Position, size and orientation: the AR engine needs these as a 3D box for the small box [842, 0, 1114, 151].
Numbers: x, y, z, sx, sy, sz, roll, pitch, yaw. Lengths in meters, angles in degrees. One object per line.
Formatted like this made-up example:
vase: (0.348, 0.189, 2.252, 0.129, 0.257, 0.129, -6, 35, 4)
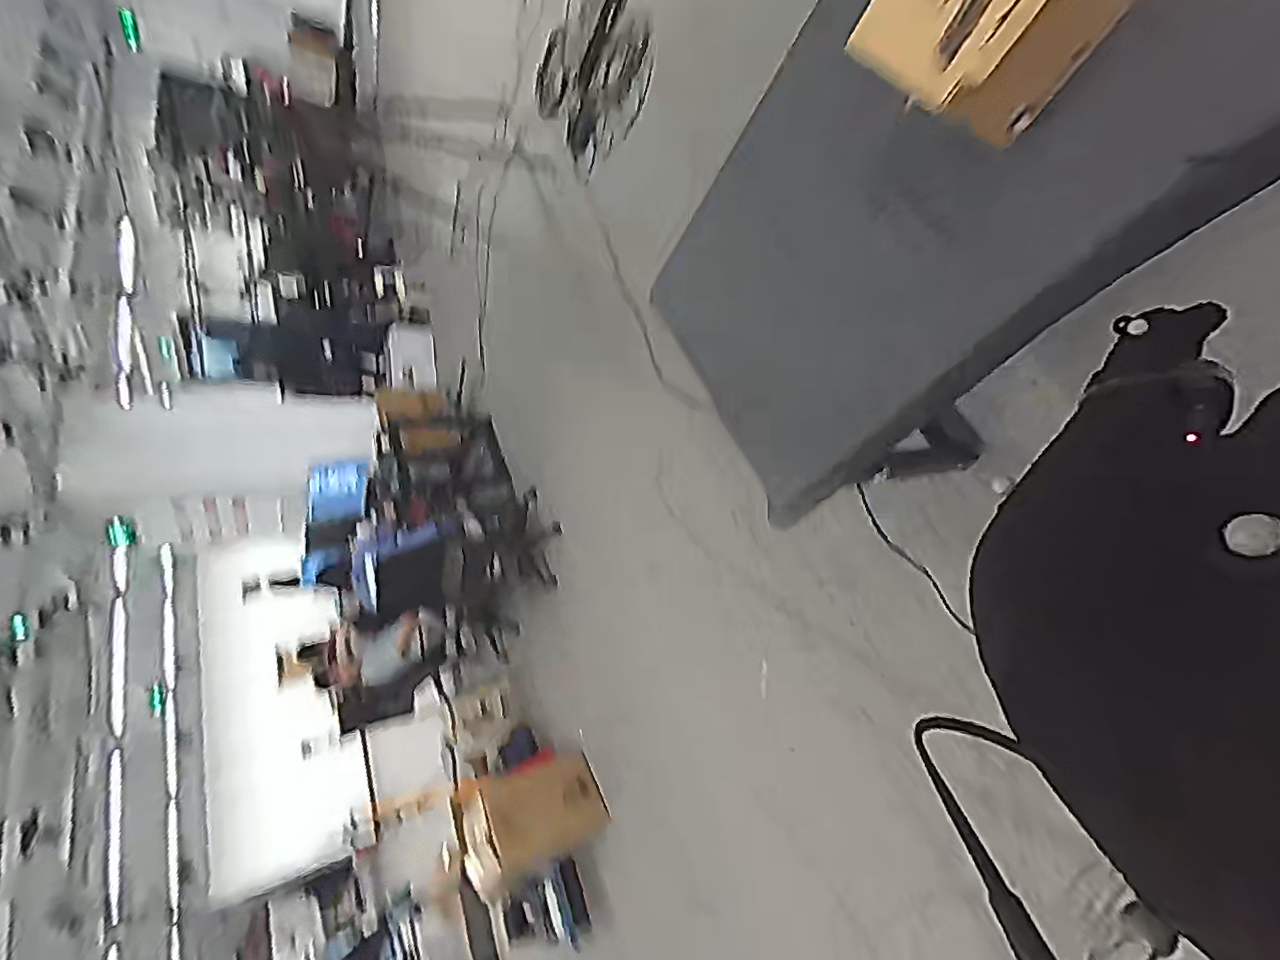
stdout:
small box: (0.382, -0.512, 0.622, 0.168, 0.176, 0.179, -56, 50, 41)
